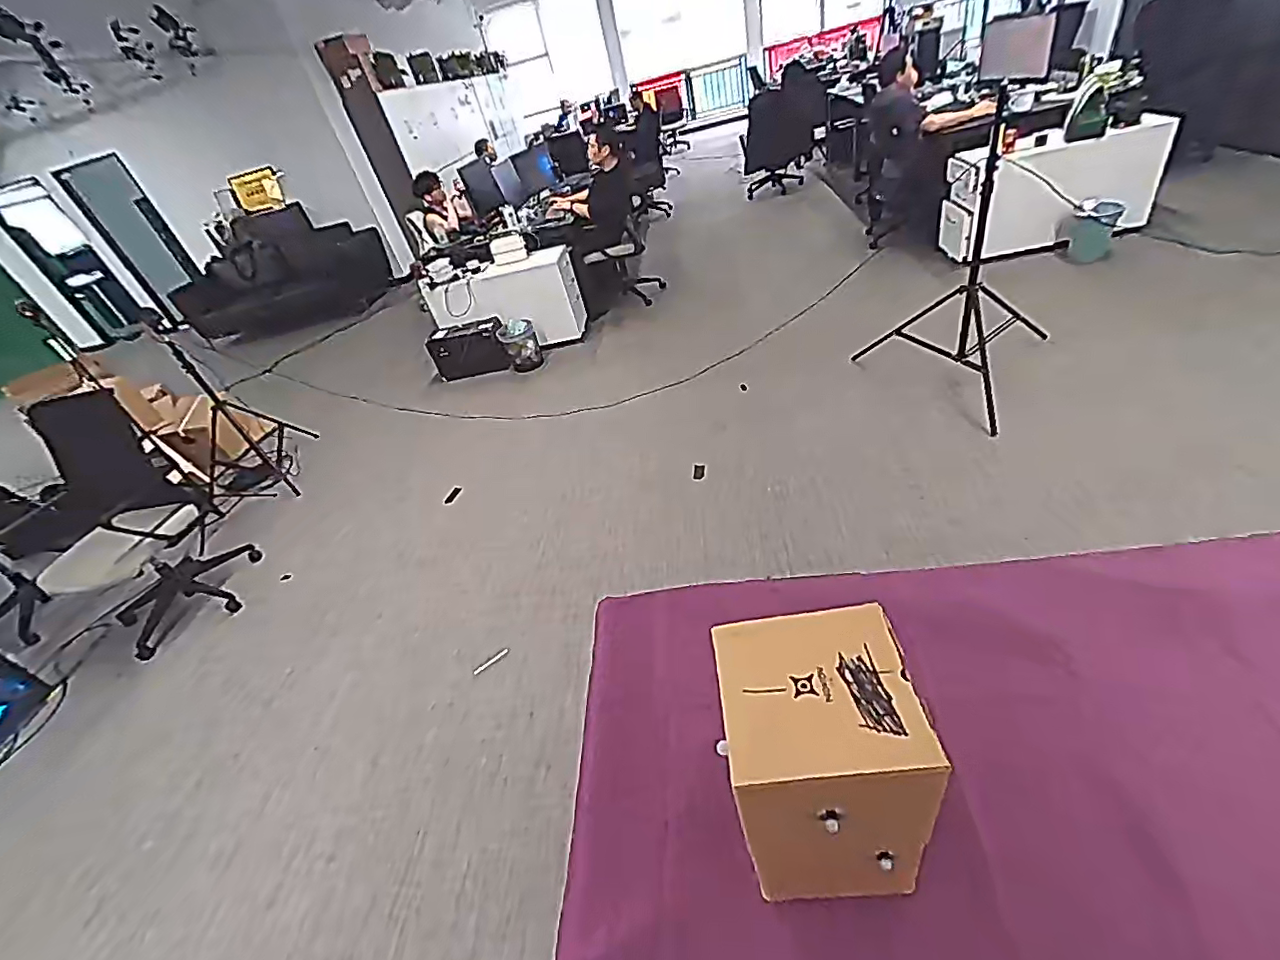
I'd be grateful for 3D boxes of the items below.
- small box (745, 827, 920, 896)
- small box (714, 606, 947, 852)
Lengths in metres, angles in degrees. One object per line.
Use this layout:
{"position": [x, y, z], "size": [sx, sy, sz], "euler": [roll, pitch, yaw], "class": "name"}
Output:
{"position": [0.214, 0.379, 0.655], "size": [0.179, 0.176, 0.168], "euler": [-10, 37, 8], "class": "small box"}
{"position": [0.179, 0.255, 0.553], "size": [0.179, 0.176, 0.168], "euler": [-10, 37, 8], "class": "small box"}
